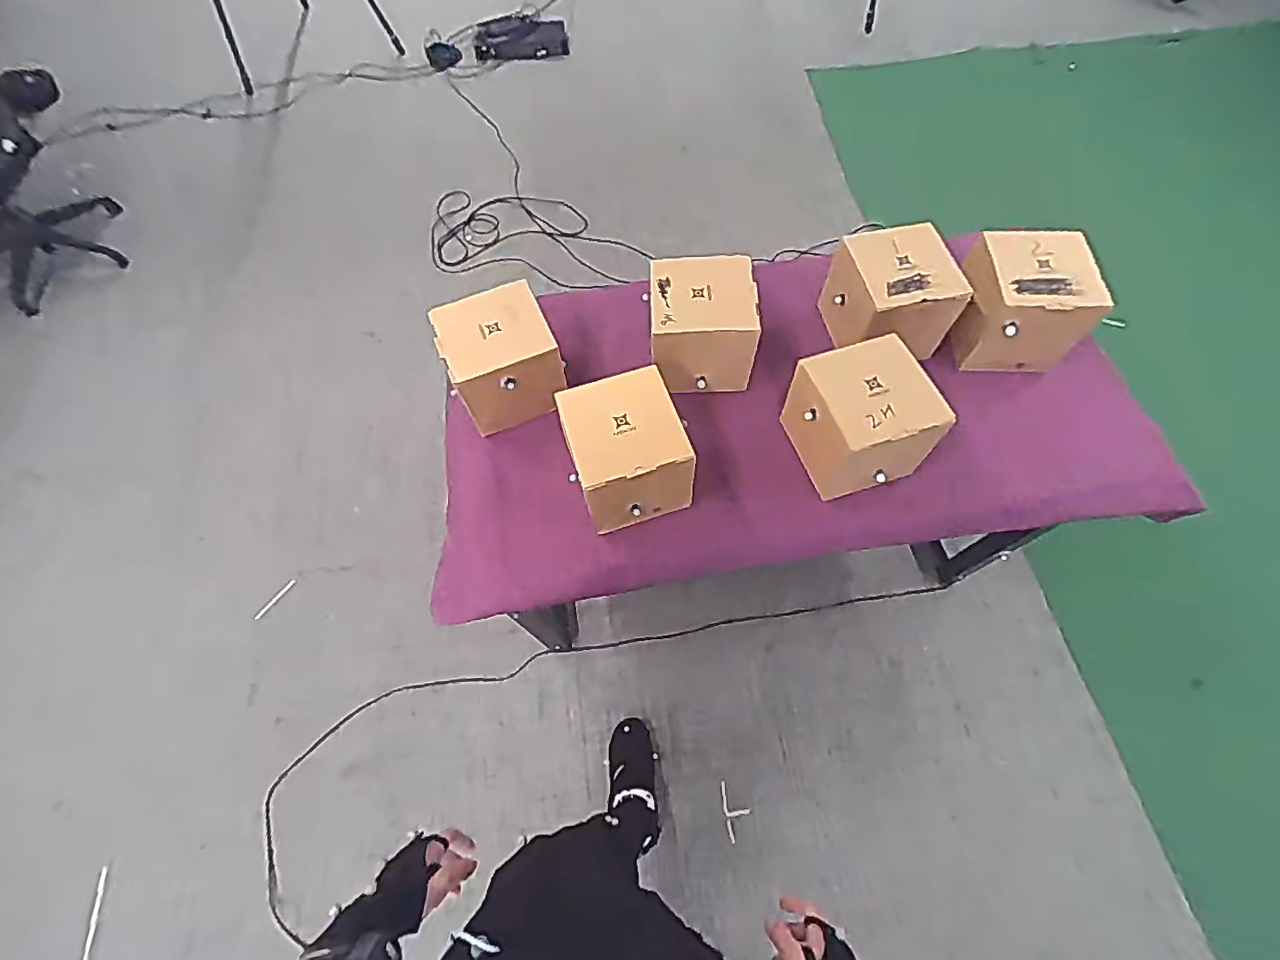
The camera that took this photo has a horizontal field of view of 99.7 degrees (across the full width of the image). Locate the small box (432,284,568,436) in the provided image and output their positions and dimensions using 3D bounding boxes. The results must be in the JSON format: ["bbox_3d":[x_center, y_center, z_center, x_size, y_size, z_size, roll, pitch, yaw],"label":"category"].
[{"bbox_3d":[-0.235,-0.203,0.949,0.179,0.176,0.168,-21,66,-9],"label":"small box"}]

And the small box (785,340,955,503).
[{"bbox_3d":[0.351,-0.090,0.869,0.168,0.176,0.179,-16,63,-5],"label":"small box"}]

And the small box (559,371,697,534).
[{"bbox_3d":[-0.021,-0.039,0.860,0.168,0.176,0.179,-17,64,-7],"label":"small box"}]
